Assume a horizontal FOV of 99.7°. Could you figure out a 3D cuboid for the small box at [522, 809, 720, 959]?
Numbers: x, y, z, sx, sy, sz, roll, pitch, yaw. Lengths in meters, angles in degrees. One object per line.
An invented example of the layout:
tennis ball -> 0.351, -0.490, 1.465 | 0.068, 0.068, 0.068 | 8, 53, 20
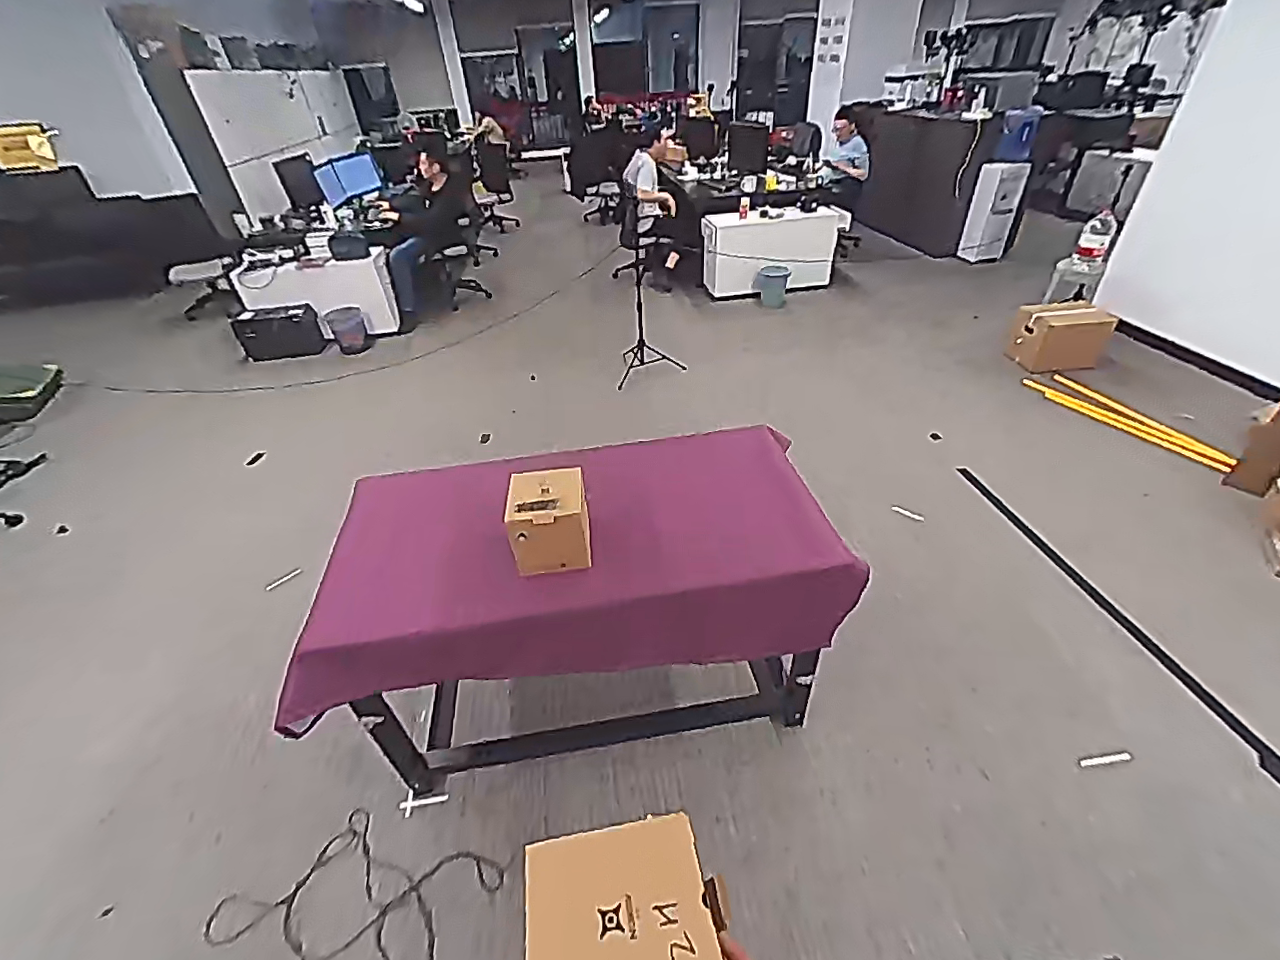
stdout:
small box -> -0.021, 0.475, 0.548 | 0.179, 0.176, 0.168 | -5, 31, -8
